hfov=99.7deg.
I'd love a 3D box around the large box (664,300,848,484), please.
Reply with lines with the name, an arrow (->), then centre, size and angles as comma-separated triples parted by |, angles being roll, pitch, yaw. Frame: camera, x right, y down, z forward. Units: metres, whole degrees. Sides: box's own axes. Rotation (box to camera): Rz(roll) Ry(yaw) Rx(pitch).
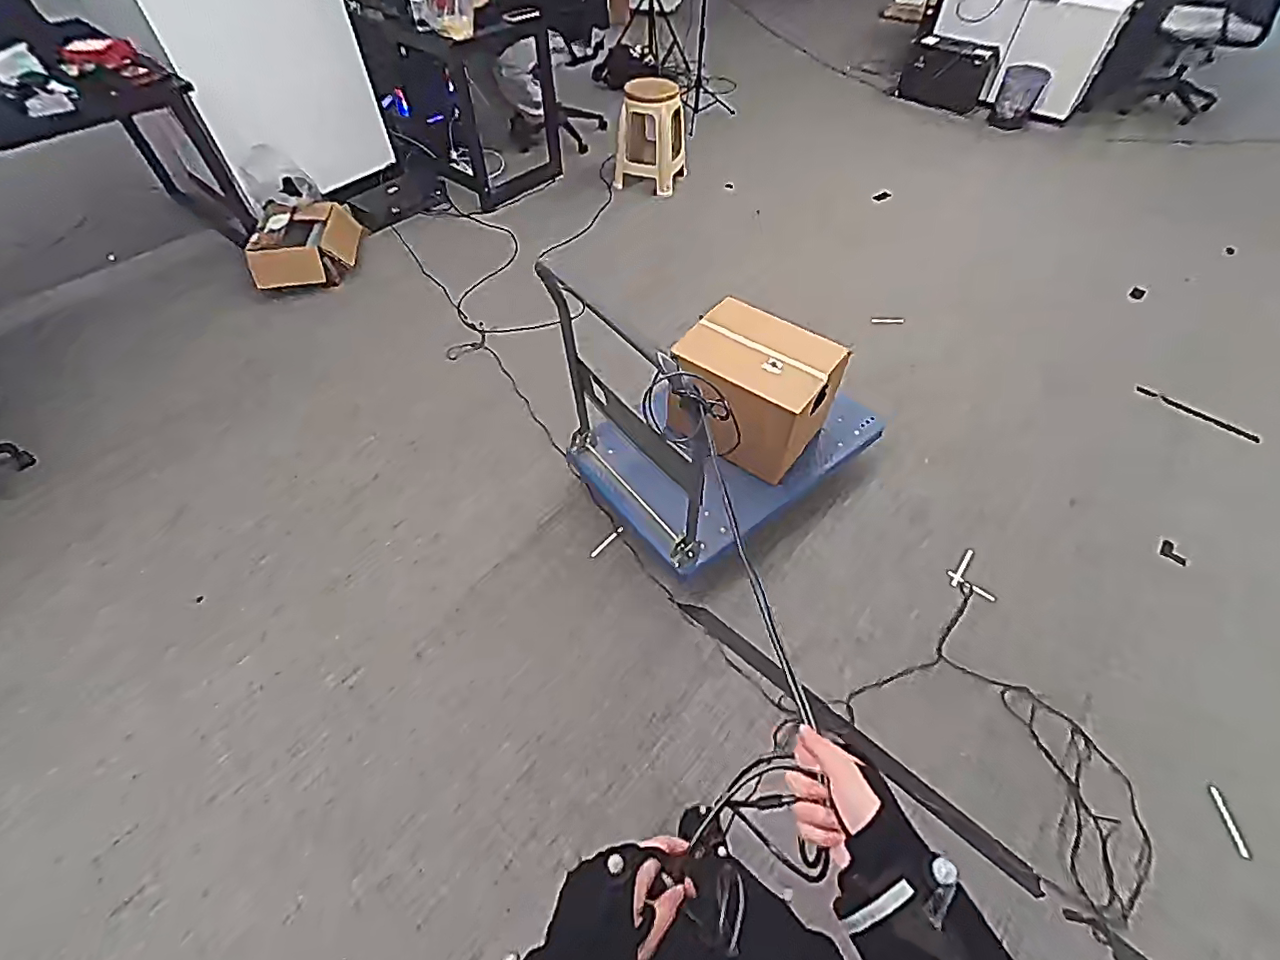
large box -> 0.323, -0.262, 1.601 | 0.408, 0.320, 0.320 | 32, 61, 20
